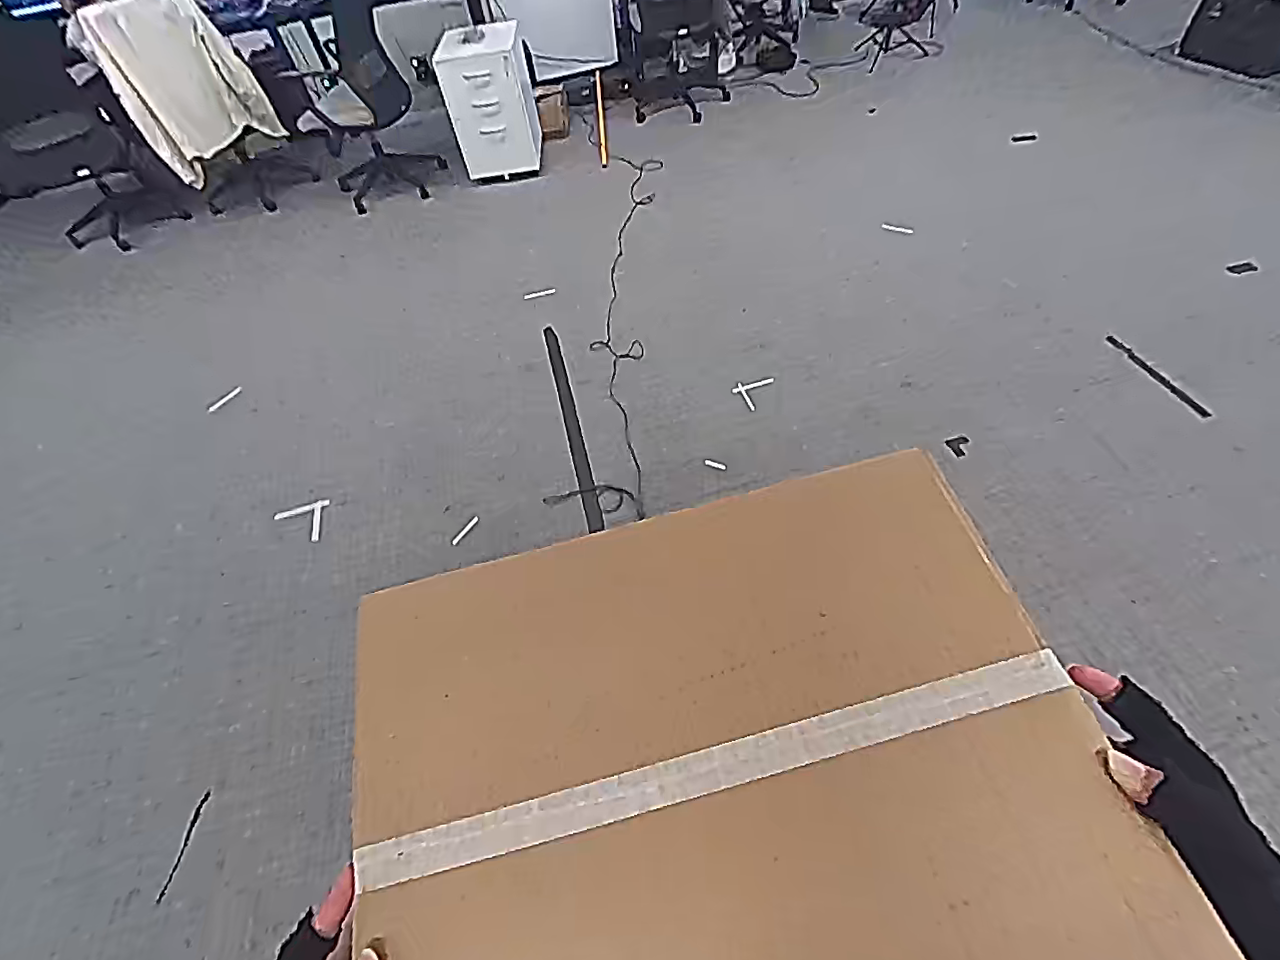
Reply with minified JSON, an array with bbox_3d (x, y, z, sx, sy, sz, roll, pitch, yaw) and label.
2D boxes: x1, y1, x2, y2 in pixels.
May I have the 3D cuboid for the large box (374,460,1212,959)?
[{"bbox_3d":[0.059,0.235,0.440,0.408,0.320,0.320,-15,60,-2],"label":"large box"}]
